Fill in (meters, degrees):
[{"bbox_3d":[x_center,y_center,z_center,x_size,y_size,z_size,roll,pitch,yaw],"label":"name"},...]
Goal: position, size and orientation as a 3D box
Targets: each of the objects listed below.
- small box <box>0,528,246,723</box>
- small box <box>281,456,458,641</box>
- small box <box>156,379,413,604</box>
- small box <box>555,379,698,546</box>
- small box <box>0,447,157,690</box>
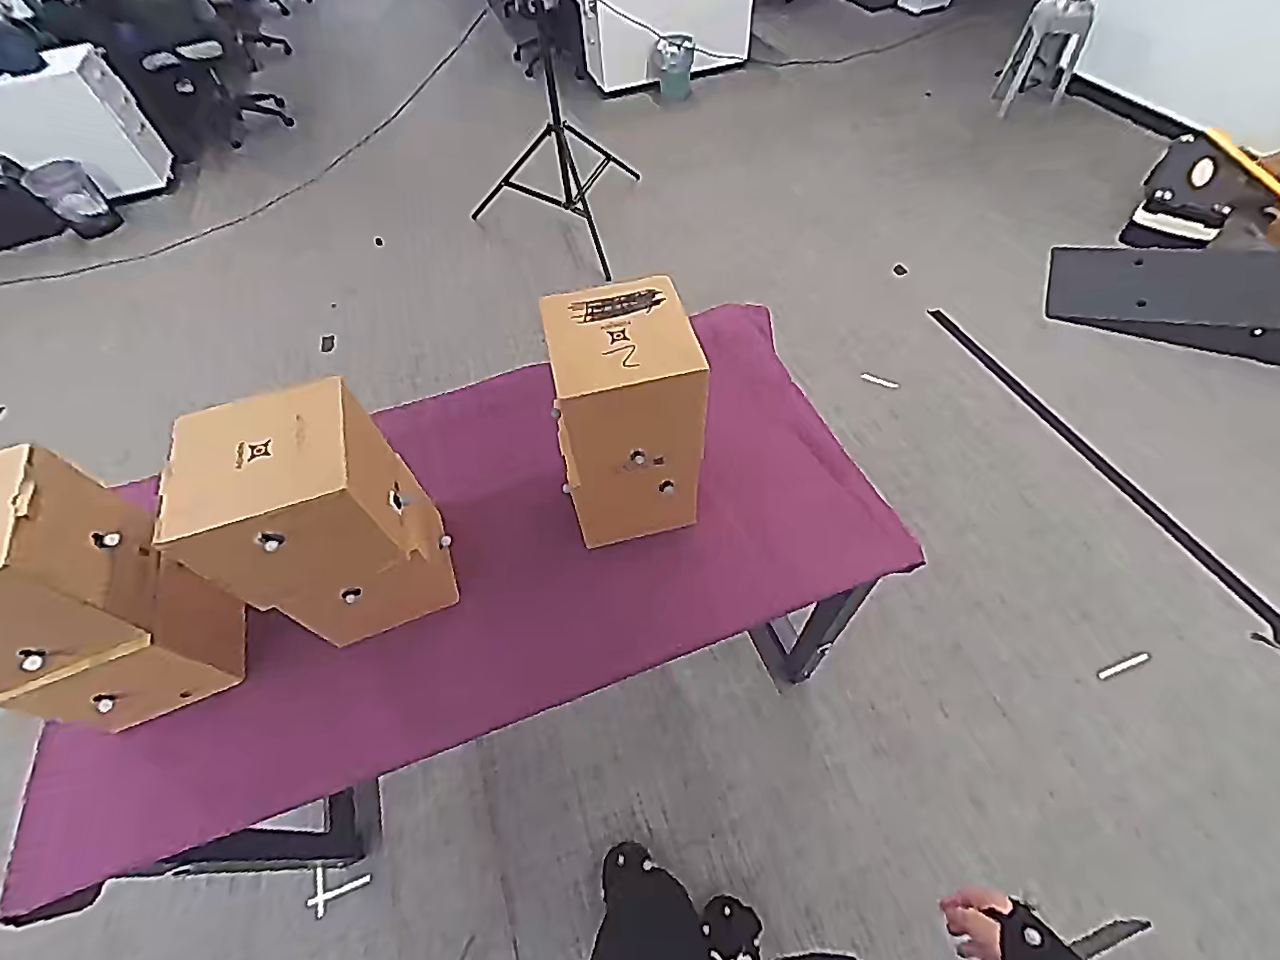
[{"bbox_3d":[-0.652,0.197,0.708,0.168,0.176,0.179,-21,56,-11],"label":"small box"},{"bbox_3d":[-0.378,0.100,0.755,0.179,0.176,0.168,-20,56,-11],"label":"small box"},{"bbox_3d":[-0.383,0.019,0.615,0.179,0.176,0.168,-17,57,-10],"label":"small box"},{"bbox_3d":[-0.020,-0.022,0.814,0.179,0.176,0.168,-13,55,-4],"label":"small box"},{"bbox_3d":[-0.670,0.100,0.576,0.179,0.176,0.168,-23,56,-12],"label":"small box"}]
